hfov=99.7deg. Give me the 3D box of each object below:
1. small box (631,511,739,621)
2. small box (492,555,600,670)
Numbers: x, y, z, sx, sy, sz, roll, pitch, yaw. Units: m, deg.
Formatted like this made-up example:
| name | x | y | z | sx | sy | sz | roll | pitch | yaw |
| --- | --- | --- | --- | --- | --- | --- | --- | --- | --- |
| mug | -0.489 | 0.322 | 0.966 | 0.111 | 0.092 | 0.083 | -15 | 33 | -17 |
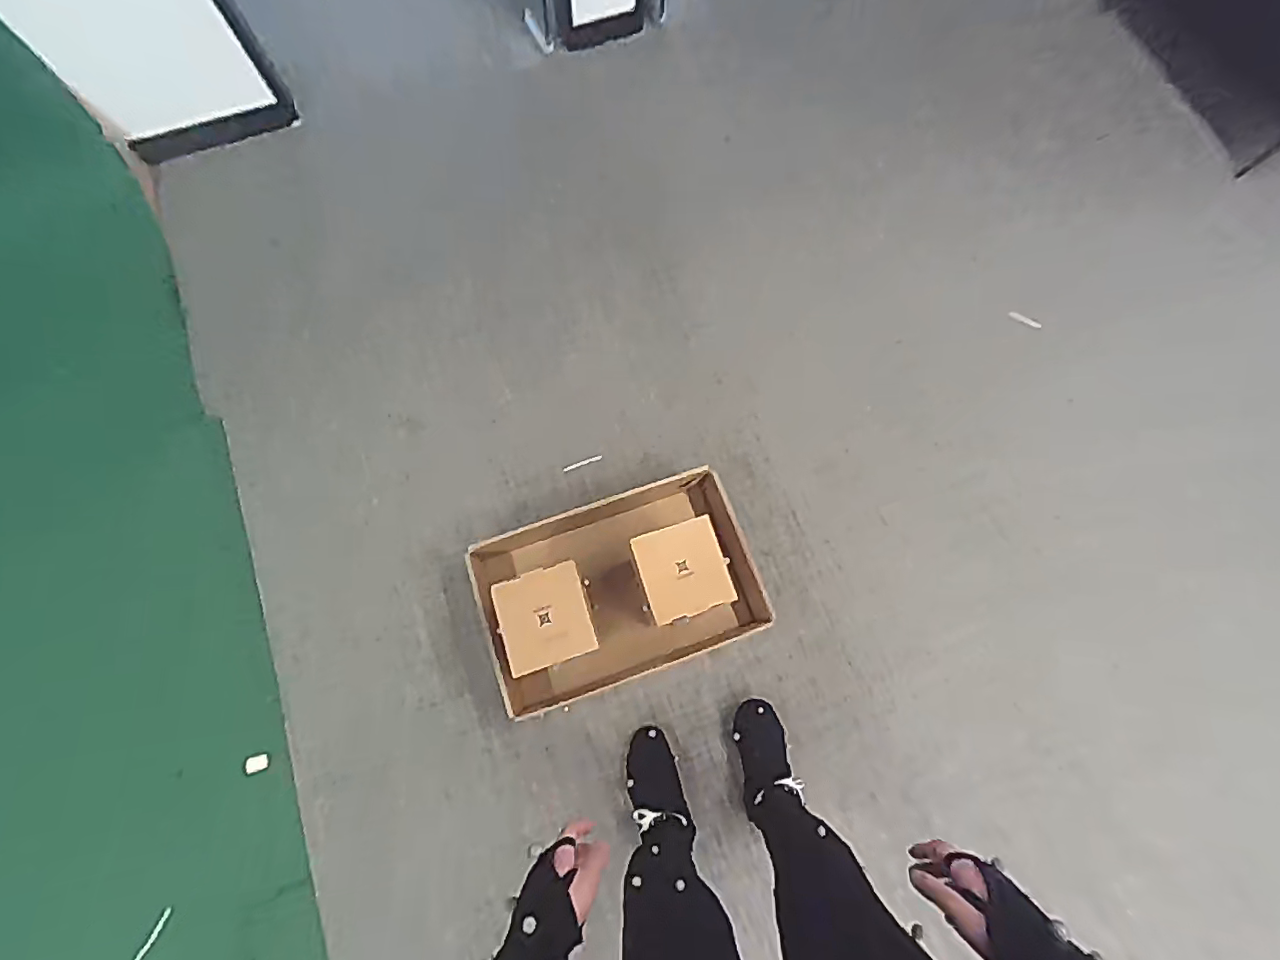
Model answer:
| name | x | y | z | sx | sy | sz | roll | pitch | yaw |
| --- | --- | --- | --- | --- | --- | --- | --- | --- | --- |
| small box | 0.082 | 0.182 | 1.111 | 0.168 | 0.176 | 0.179 | -17 | 77 | -6 |
| small box | -0.181 | 0.265 | 1.077 | 0.168 | 0.176 | 0.179 | -17 | 76 | -7 |
